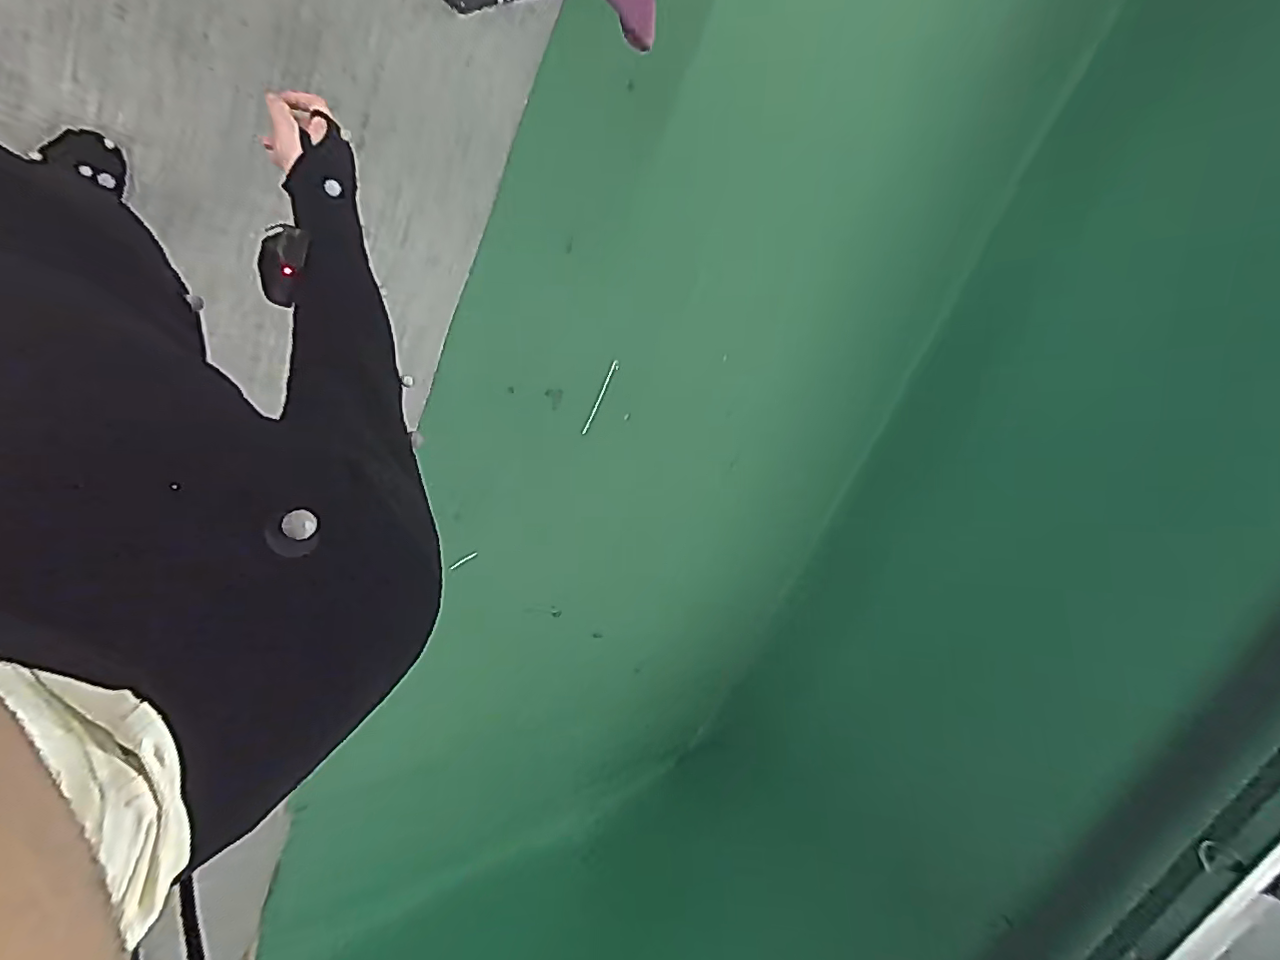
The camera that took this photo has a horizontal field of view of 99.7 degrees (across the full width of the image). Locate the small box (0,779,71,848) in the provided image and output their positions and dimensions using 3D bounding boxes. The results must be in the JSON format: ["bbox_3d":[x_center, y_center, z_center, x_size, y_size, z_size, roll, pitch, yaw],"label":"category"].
[{"bbox_3d":[-1.317,0.755,1.115,0.179,0.176,0.168,16,106,-49],"label":"small box"}]
